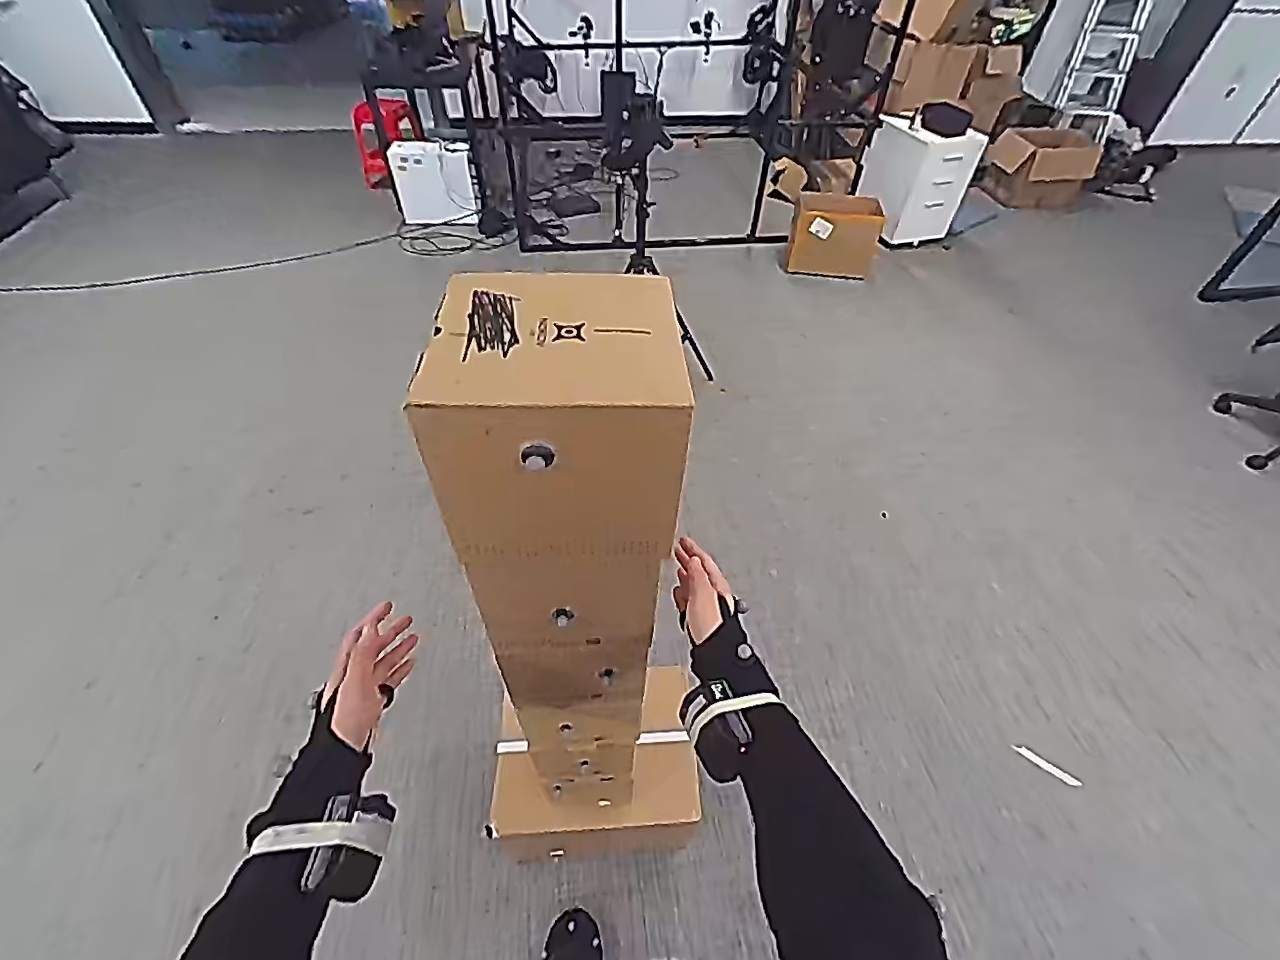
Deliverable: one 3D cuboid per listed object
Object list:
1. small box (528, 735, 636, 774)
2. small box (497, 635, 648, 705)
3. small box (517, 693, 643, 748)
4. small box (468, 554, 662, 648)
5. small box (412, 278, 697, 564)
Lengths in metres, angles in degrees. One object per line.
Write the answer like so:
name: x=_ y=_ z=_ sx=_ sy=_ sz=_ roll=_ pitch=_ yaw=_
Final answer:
small box: x=-0.091 y=0.391 z=0.924 sx=0.168 sy=0.176 sz=0.179 roll=-1 pitch=48 yaw=-4
small box: x=-0.080 y=0.170 z=0.686 sx=0.168 sy=0.176 sz=0.179 roll=-3 pitch=46 yaw=-6
small box: x=-0.084 y=0.284 z=0.802 sx=0.168 sy=0.176 sz=0.179 roll=-3 pitch=47 yaw=-5
small box: x=-0.068 y=0.063 z=0.561 sx=0.168 sy=0.176 sz=0.179 roll=-1 pitch=47 yaw=-5
small box: x=-0.058 y=-0.044 z=0.437 sx=0.179 sy=0.176 sz=0.168 roll=-1 pitch=47 yaw=-5
